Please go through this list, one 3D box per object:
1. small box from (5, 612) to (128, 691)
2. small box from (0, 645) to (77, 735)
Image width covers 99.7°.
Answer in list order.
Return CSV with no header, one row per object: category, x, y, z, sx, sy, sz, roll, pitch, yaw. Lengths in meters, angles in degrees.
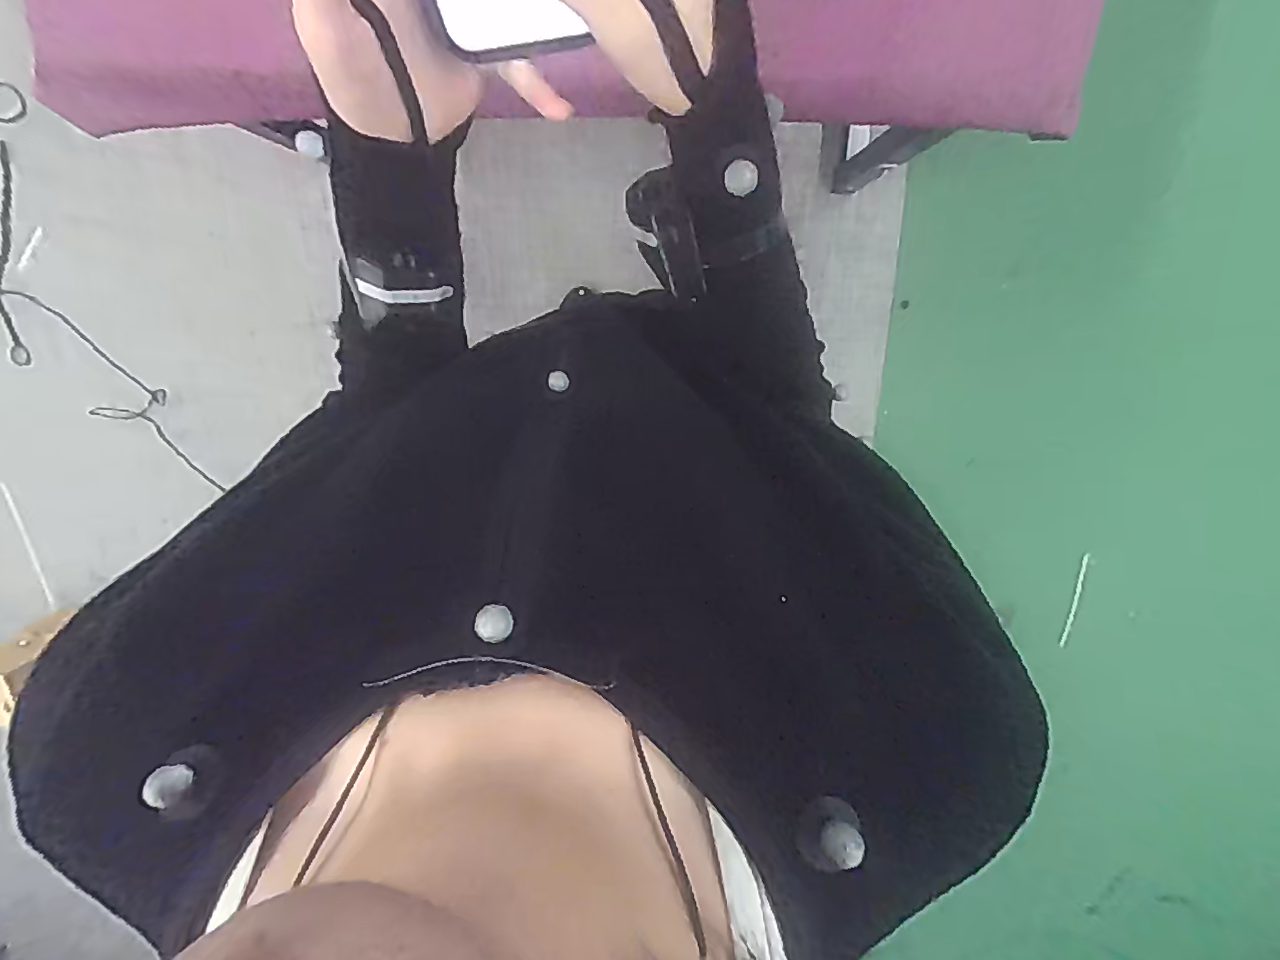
small box,-1.726,0.514,1.639,0.168,0.176,0.179,0,108,2
small box,-1.729,0.569,1.484,0.179,0.176,0.168,1,108,2
